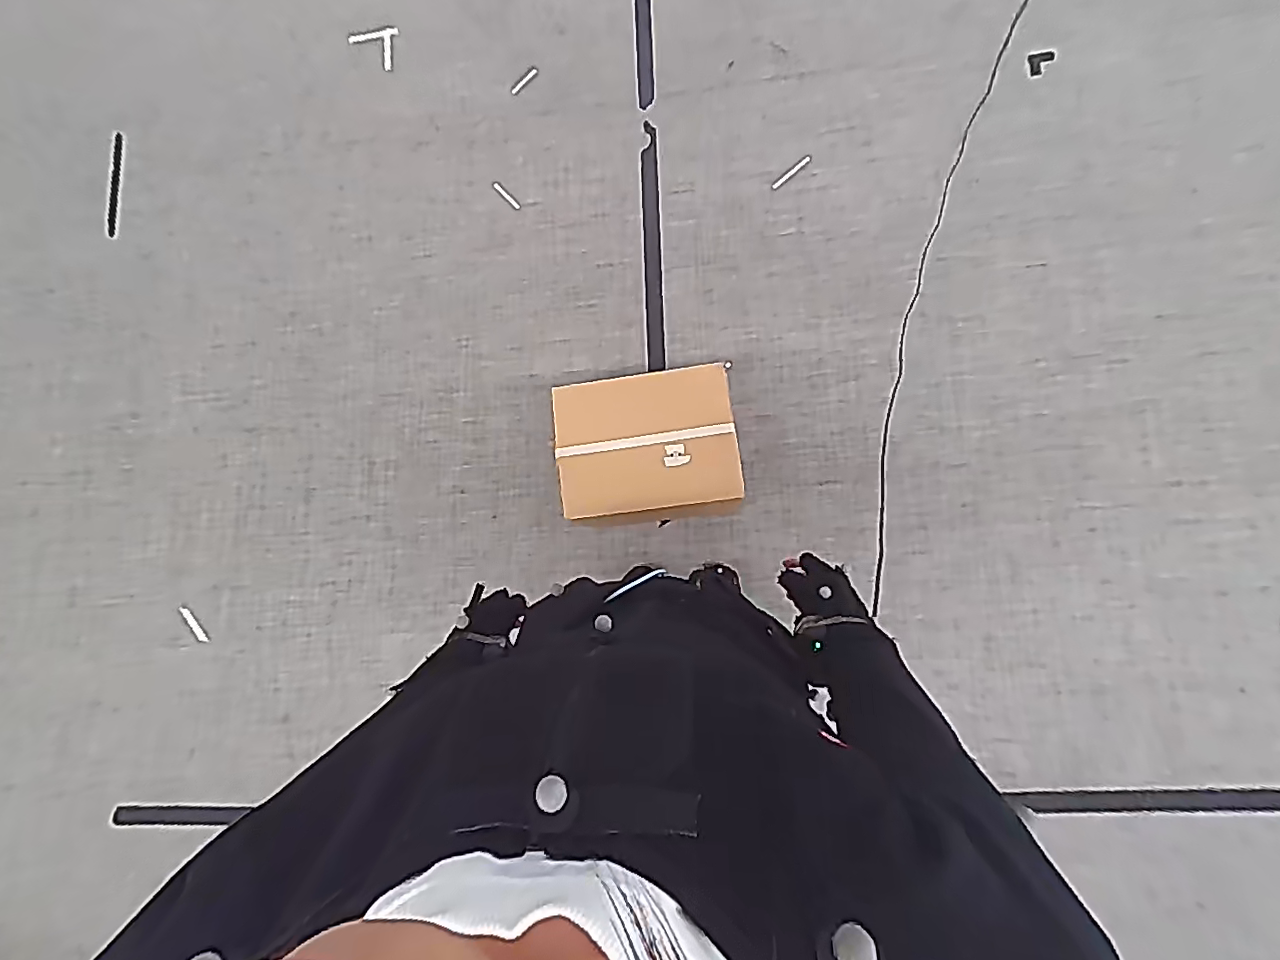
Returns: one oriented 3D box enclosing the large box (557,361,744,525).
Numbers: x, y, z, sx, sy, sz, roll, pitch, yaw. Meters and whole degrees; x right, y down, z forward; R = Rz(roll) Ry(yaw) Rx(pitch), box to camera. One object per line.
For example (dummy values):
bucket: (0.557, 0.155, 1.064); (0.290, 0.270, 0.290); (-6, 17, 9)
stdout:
large box: (0.032, -0.073, 1.375); (0.408, 0.320, 0.320); (-7, 81, 5)
